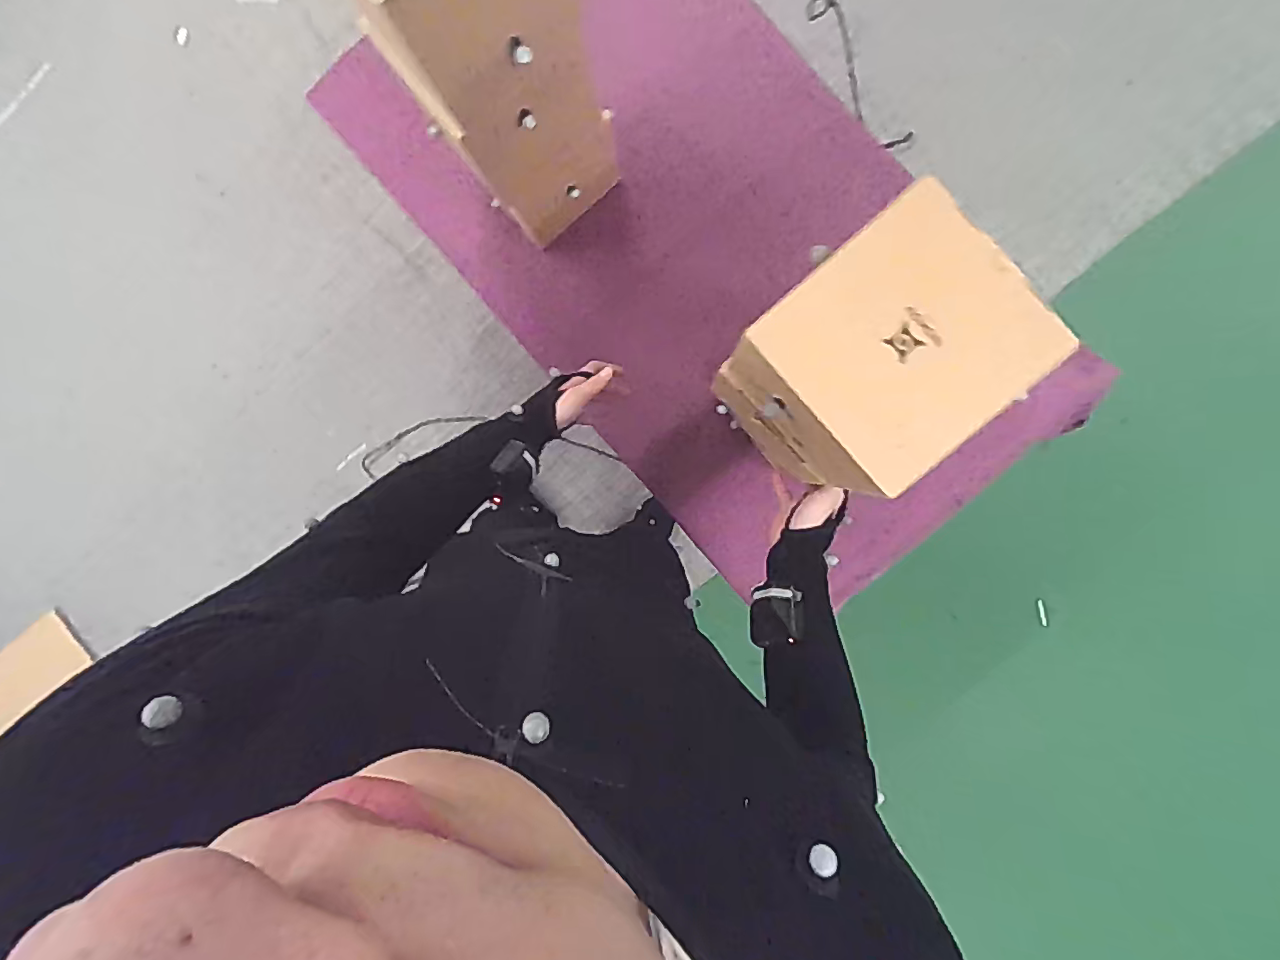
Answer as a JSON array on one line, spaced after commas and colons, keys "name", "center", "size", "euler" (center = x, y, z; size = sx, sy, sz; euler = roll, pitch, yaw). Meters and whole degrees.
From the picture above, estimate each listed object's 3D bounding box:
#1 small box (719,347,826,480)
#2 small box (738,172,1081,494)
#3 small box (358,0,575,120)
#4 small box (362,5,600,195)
[{"name": "small box", "center": [0.208, -0.116, 0.628], "size": [0.179, 0.176, 0.168], "euler": [-41, 89, 4]}, {"name": "small box", "center": [0.200, -0.105, 0.466], "size": [0.179, 0.176, 0.168], "euler": [-41, 89, 4]}, {"name": "small box", "center": [-0.170, -0.471, 0.463], "size": [0.179, 0.176, 0.168], "euler": [-40, 90, 5]}, {"name": "small box", "center": [-0.166, -0.477, 0.627], "size": [0.179, 0.176, 0.168], "euler": [-39, 91, 5]}]
